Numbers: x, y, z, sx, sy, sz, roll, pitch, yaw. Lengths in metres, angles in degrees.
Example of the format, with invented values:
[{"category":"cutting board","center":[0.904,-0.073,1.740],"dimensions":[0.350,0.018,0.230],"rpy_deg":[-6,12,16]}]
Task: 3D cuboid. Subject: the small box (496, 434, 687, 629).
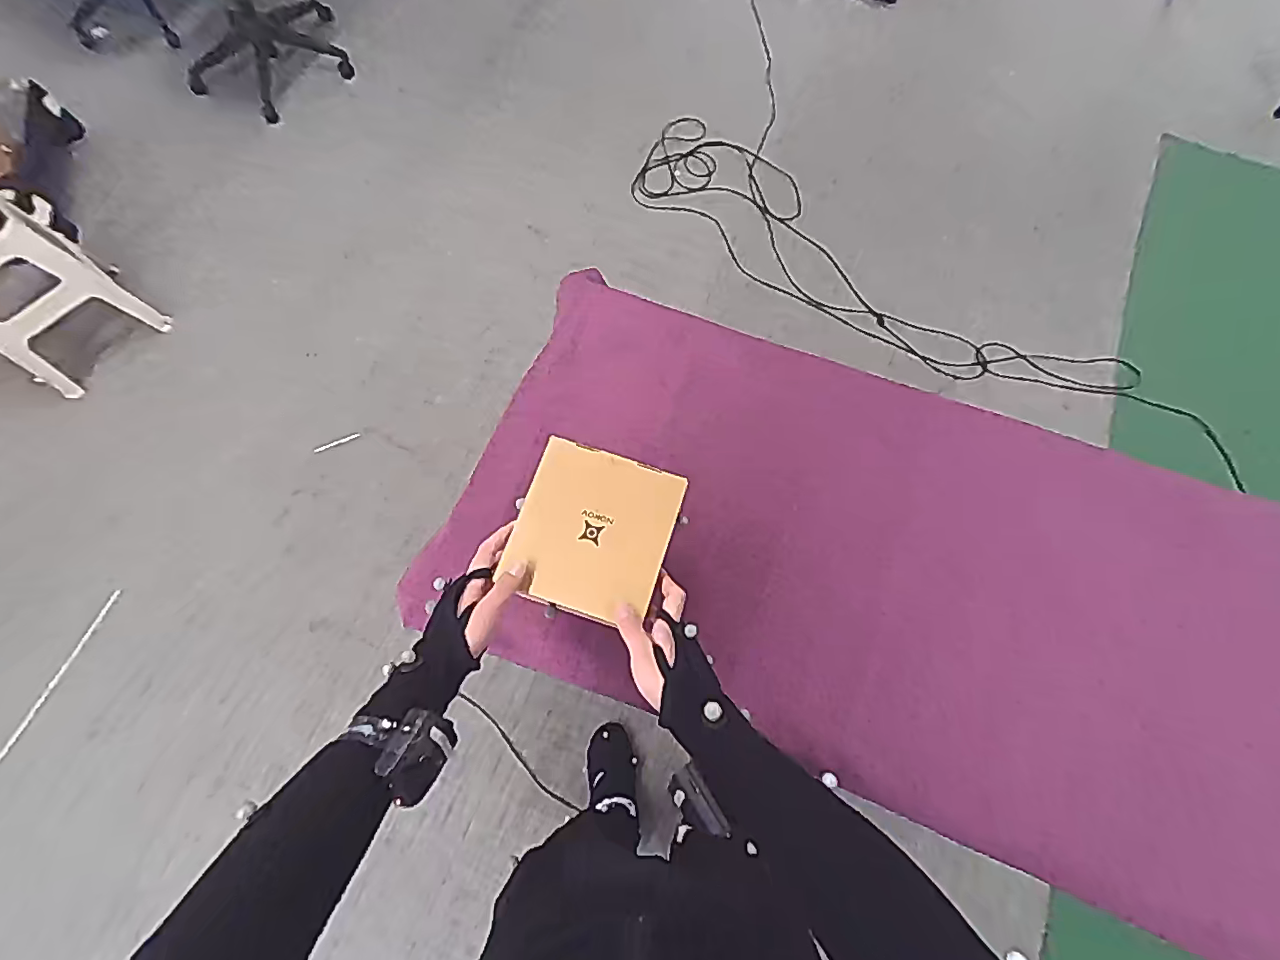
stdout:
[{"category":"small box","center":[-0.051,0.073,0.661],"dimensions":[0.168,0.176,0.179],"rpy_deg":[18,72,4]}]
